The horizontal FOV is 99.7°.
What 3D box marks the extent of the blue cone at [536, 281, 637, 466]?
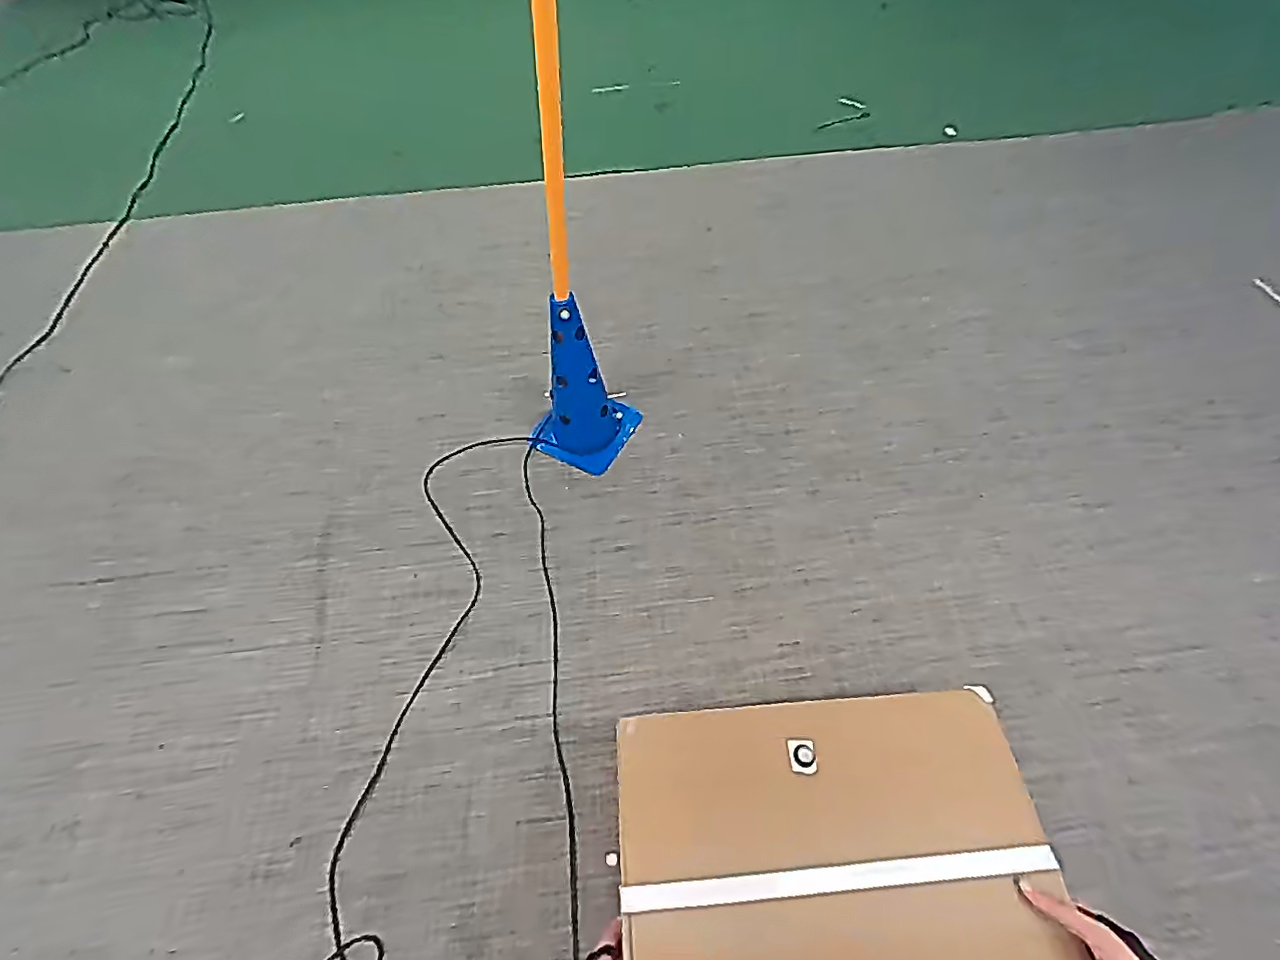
[{"bbox_3d":[-0.121,-0.218,1.054,0.192,0.380,0.193,22,59,15],"label":"blue cone"}]
